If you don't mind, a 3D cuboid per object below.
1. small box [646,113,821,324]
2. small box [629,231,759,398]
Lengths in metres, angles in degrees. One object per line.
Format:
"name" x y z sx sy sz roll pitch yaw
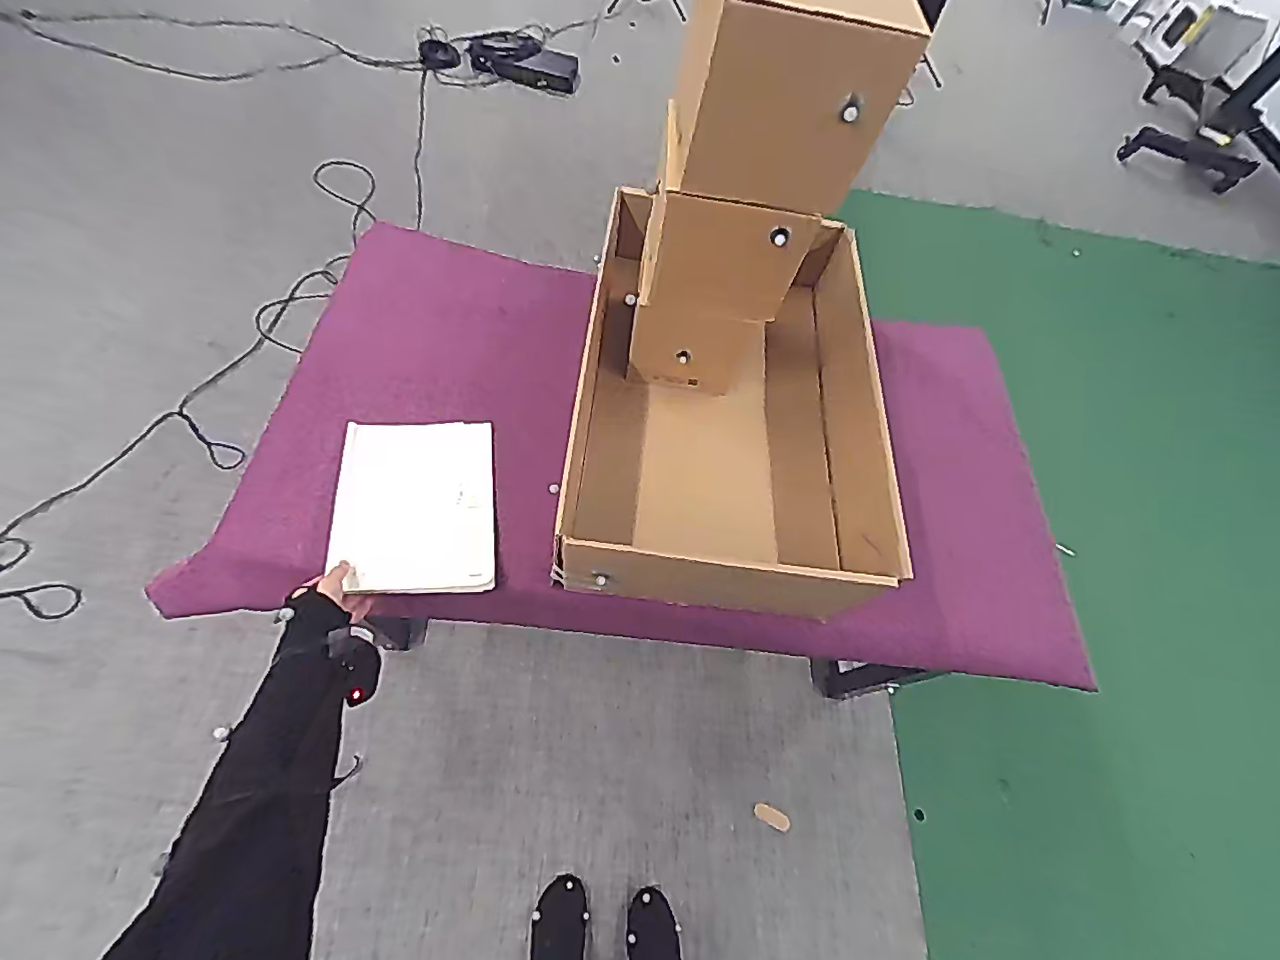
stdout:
"small box" 0.103 -0.318 0.680 0.179 0.176 0.168 6 62 -6
"small box" 0.078 -0.247 0.823 0.168 0.176 0.179 8 62 -4
